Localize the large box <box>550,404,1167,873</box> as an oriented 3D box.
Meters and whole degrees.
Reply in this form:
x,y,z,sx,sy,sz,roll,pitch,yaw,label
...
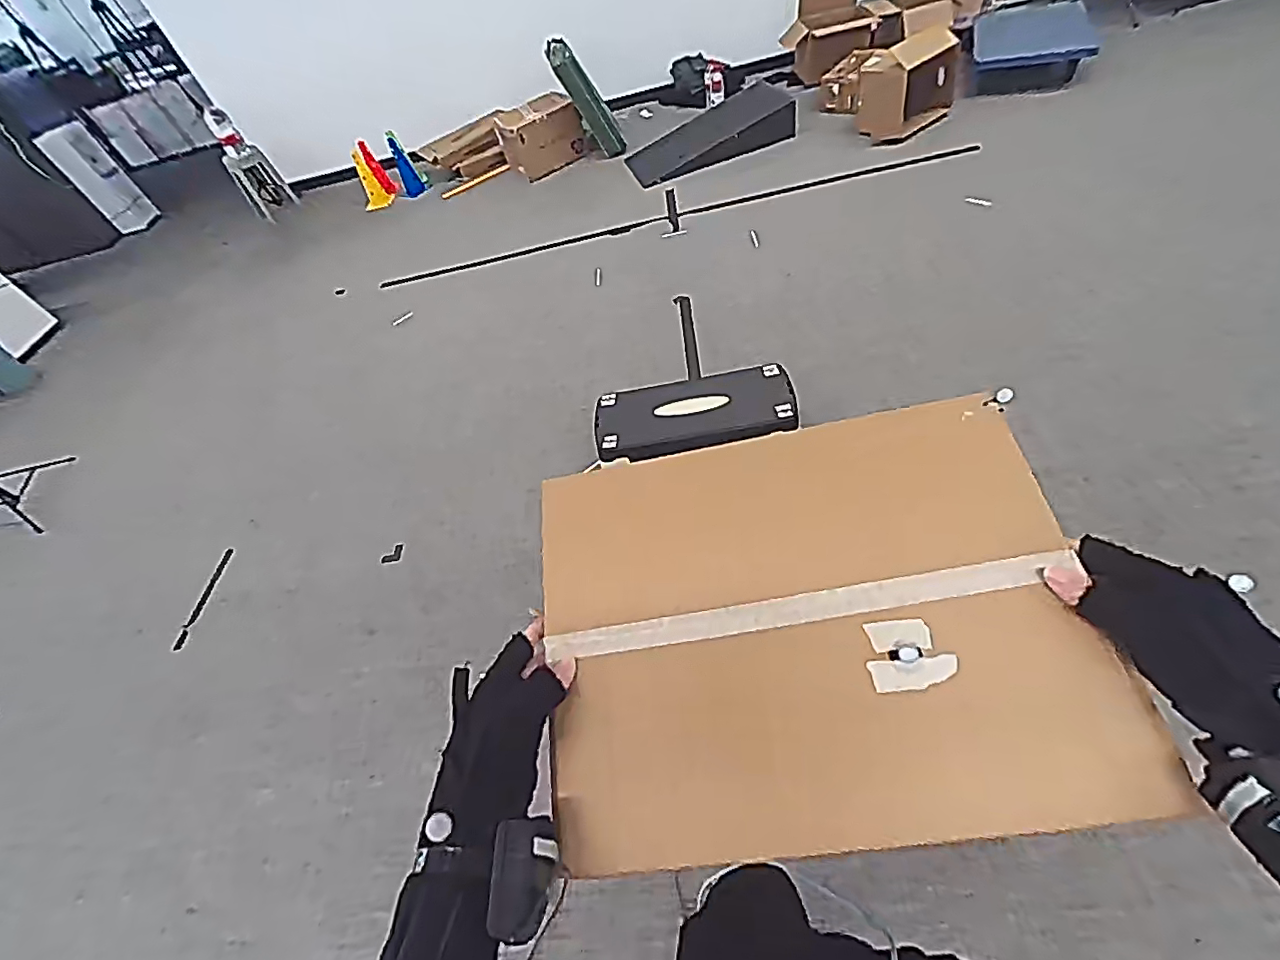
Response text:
x,y,z,sx,sy,sz,roll,pitch,yaw,label
0.152,0.172,0.562,0.408,0.320,0.320,-12,62,7,large box

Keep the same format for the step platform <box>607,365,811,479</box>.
x,y,z,sx,sy,sz,roll,pitch,yaw,label
0.228,-0.185,1.859,0.684,0.204,0.286,-10,50,7,step platform
